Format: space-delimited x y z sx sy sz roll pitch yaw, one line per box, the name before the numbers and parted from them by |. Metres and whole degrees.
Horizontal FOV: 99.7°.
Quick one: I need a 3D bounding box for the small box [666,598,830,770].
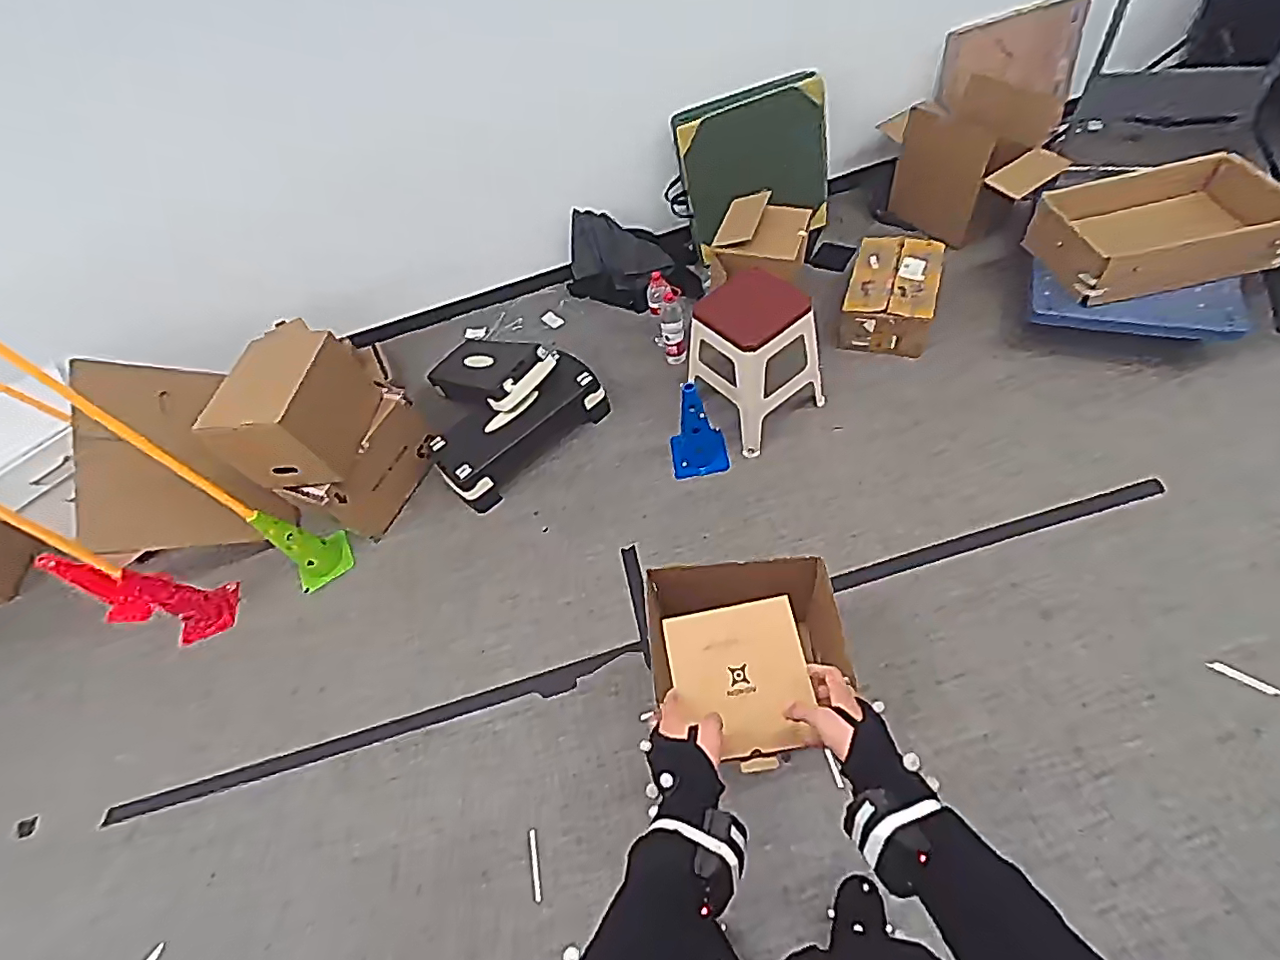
small box | 0.138 0.270 0.721 0.168 0.176 0.179 -12 66 5
